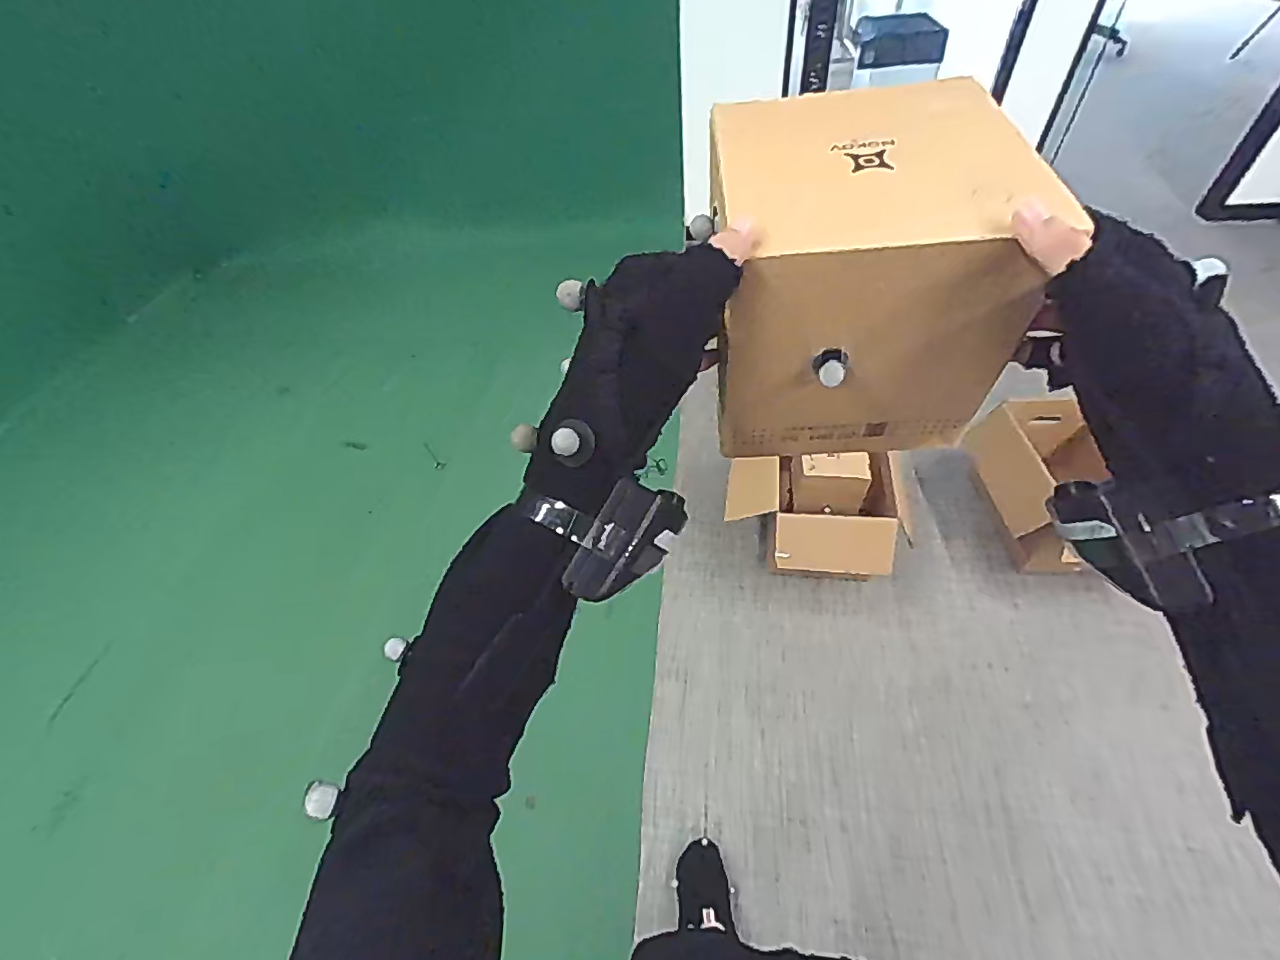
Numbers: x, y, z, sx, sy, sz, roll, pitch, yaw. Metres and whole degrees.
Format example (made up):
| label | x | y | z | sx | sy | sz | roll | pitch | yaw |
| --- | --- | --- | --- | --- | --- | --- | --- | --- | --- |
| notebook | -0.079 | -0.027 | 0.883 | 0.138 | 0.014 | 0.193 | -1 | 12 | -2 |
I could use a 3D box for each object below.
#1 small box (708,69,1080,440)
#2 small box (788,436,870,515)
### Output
| label | x | y | z | sx | sy | sz | roll | pitch | yaw |
| --- | --- | --- | --- | --- | --- | --- | --- | --- | --- |
| small box | 0.135 | -0.139 | 0.369 | 0.168 | 0.176 | 0.179 | -3 | 55 | 6 |
| small box | 0.524 | -0.019 | 1.520 | 0.179 | 0.176 | 0.168 | 5 | 48 | 6 |
